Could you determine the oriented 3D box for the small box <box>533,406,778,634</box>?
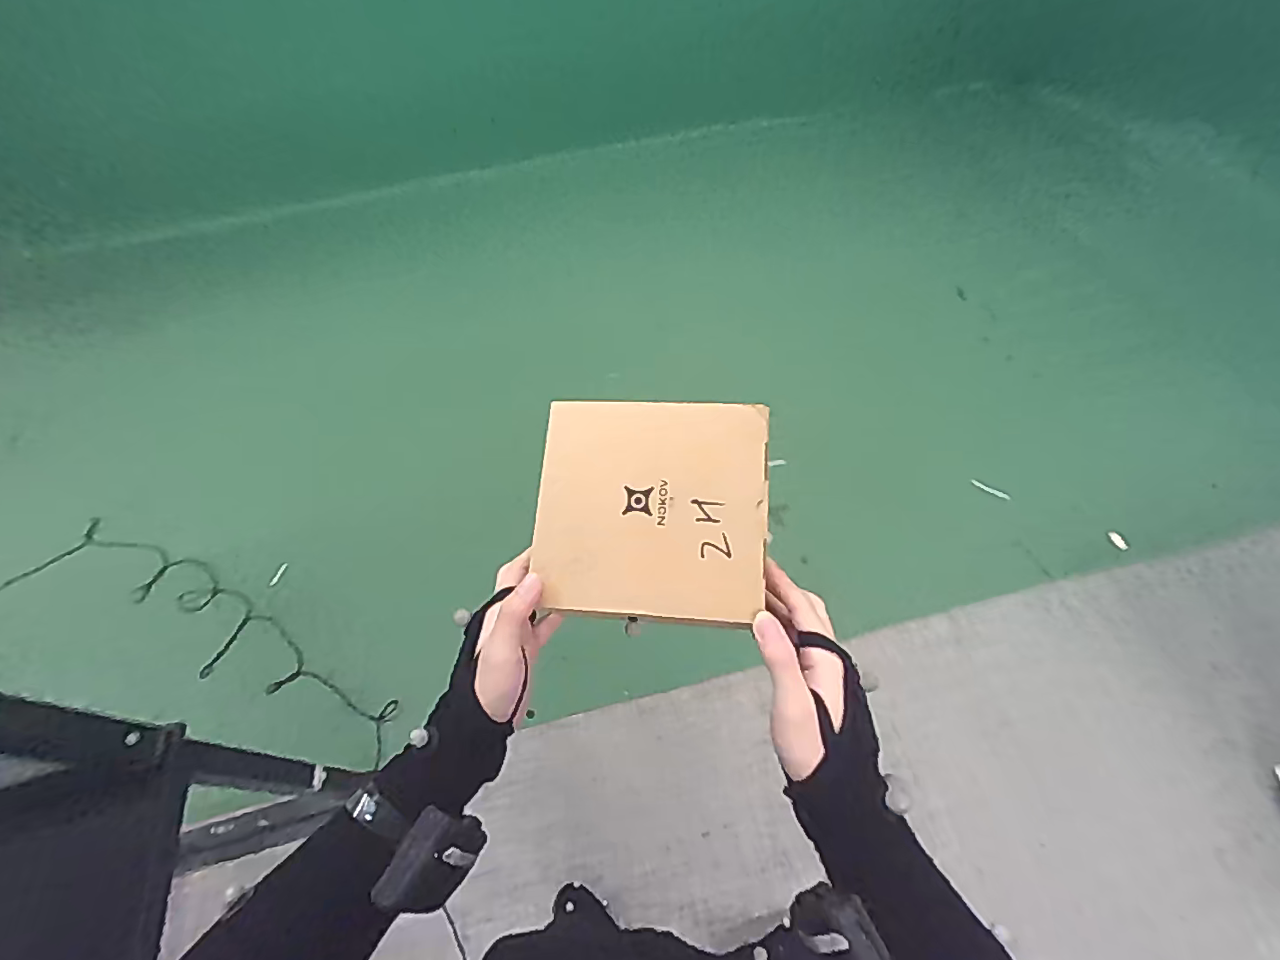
[{"bbox_3d":[0.023,0.045,0.483,0.179,0.176,0.168,3,74,8],"label":"small box"}]
